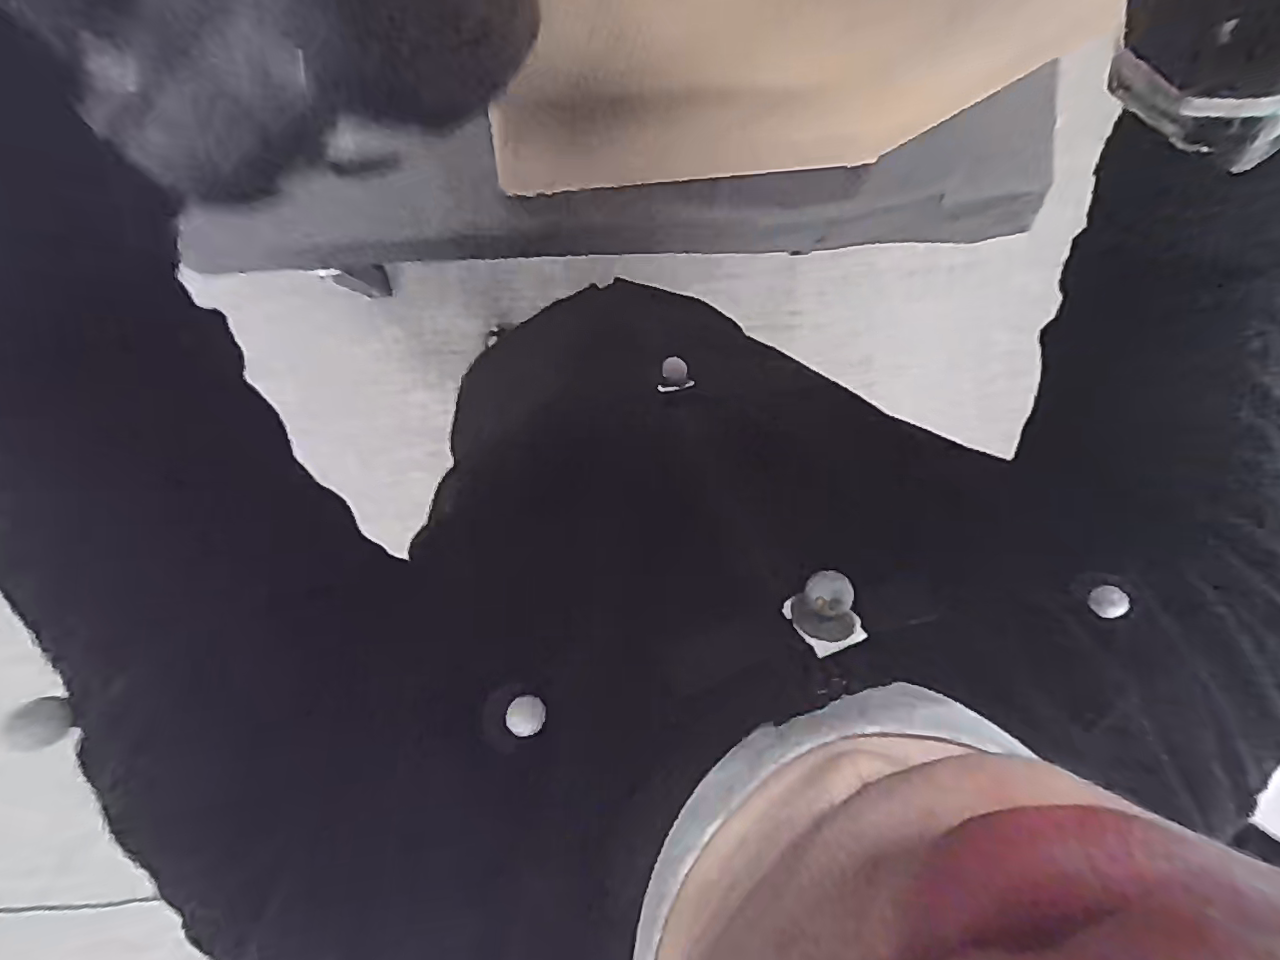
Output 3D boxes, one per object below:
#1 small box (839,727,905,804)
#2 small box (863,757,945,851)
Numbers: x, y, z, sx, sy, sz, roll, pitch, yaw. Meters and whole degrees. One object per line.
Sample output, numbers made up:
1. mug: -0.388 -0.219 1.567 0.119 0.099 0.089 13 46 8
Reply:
1. small box: 0.839 1.024 1.943 0.168 0.176 0.179 -21 109 -6
2. small box: 0.866 1.062 1.785 0.168 0.176 0.179 -20 106 -7
